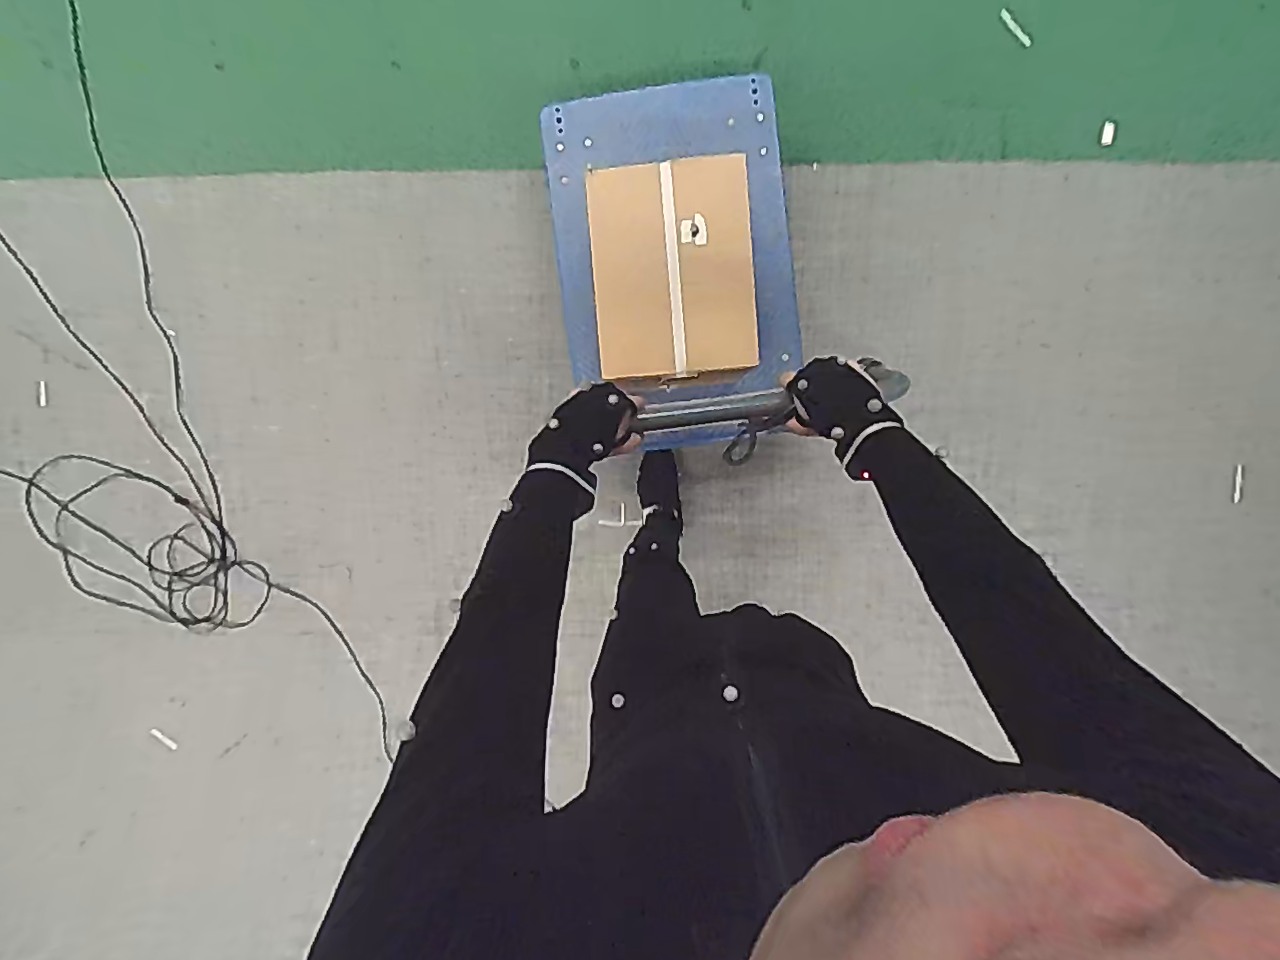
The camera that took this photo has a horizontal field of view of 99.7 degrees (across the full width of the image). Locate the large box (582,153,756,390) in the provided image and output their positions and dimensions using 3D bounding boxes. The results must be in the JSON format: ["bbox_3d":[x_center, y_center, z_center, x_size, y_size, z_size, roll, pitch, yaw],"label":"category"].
[{"bbox_3d":[0.065,-0.428,1.205,0.320,0.320,0.408,-5,94,2],"label":"large box"}]
